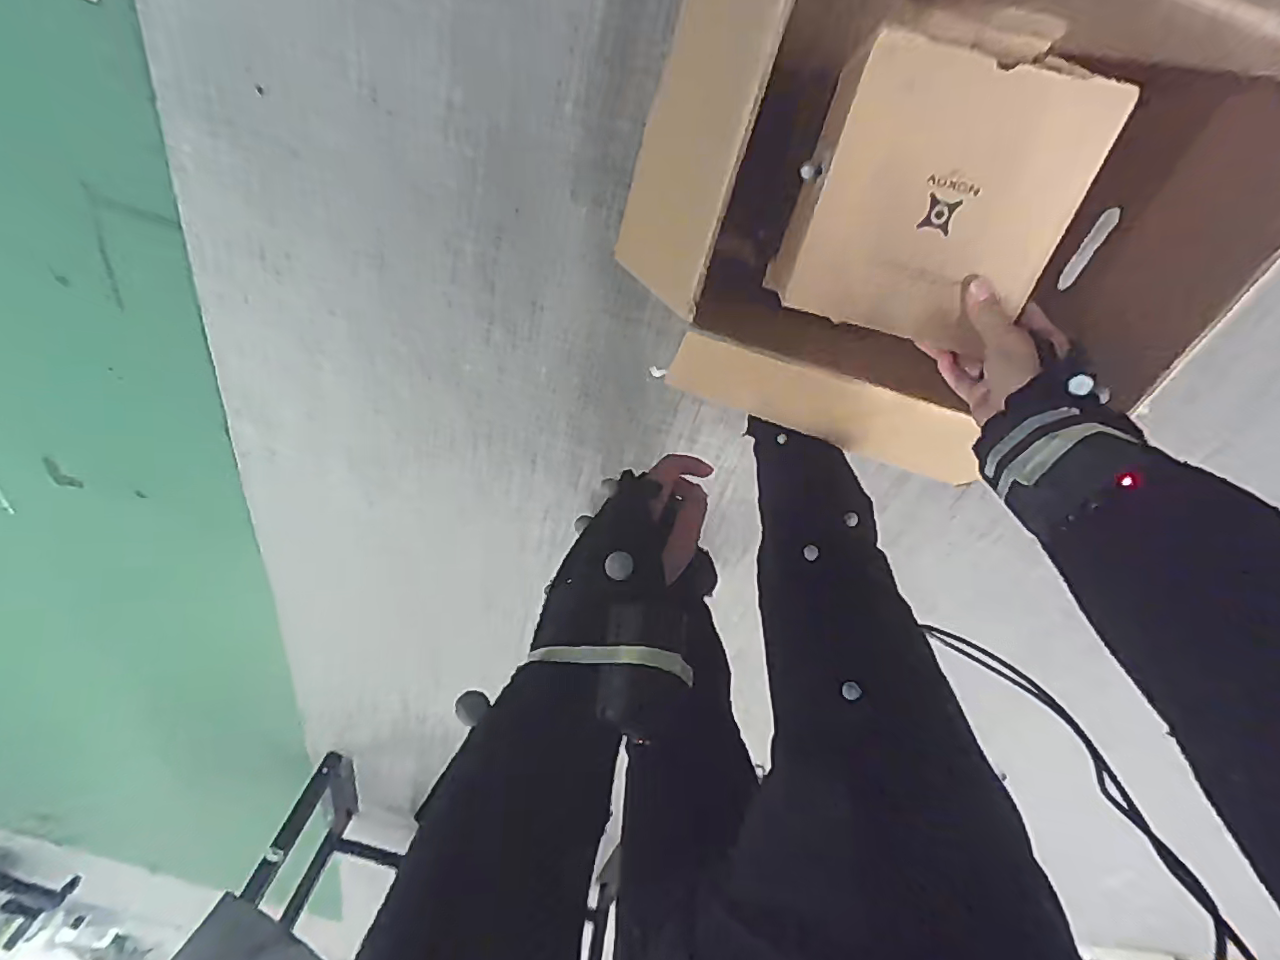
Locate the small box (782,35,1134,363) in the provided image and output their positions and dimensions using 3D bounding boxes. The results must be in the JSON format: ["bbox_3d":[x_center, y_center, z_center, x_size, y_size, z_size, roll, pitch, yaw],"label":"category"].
[{"bbox_3d":[0.224,-0.218,0.447,0.168,0.176,0.179,16,117,3],"label":"small box"}]
